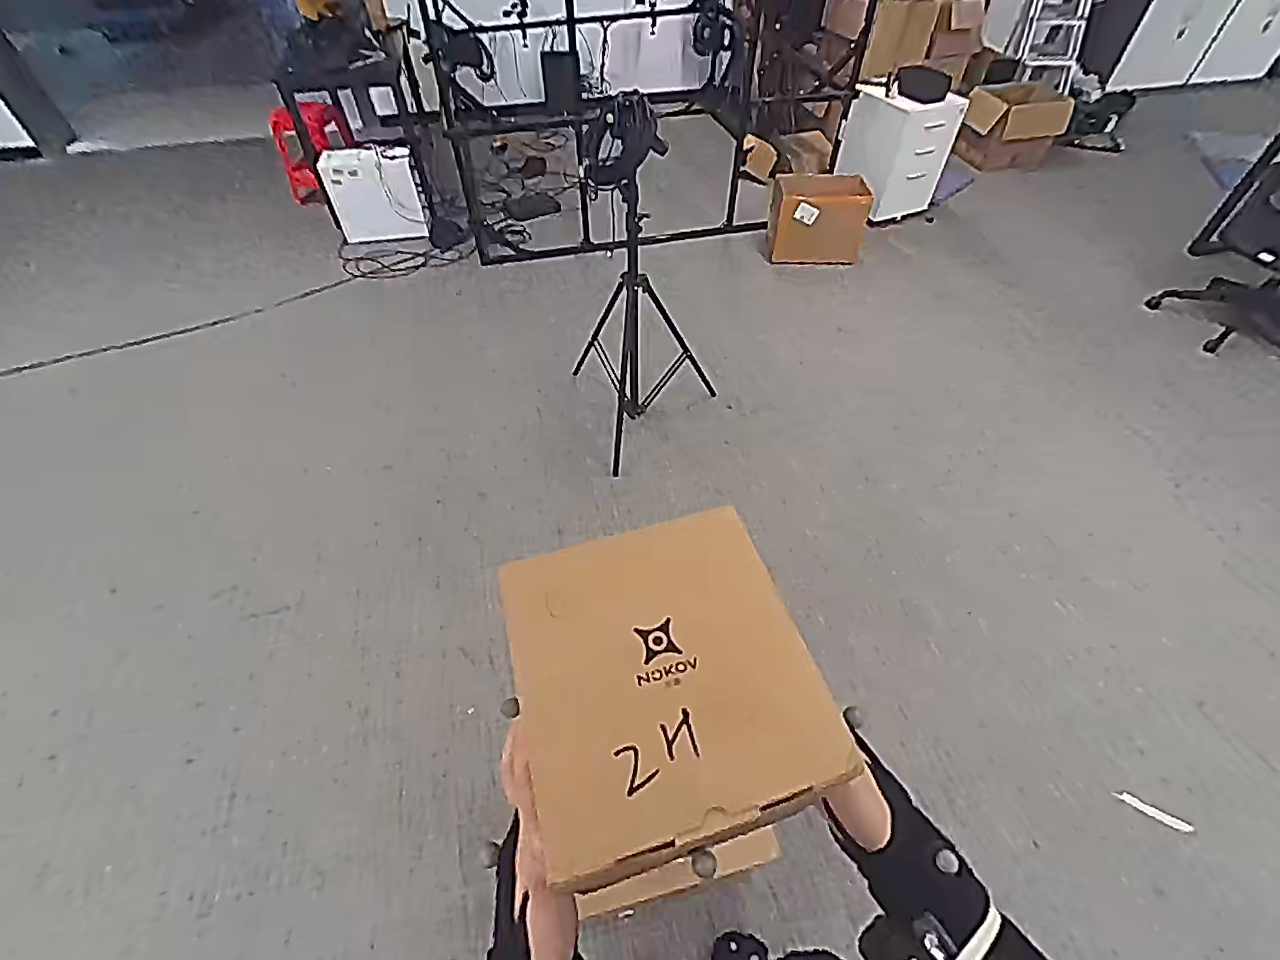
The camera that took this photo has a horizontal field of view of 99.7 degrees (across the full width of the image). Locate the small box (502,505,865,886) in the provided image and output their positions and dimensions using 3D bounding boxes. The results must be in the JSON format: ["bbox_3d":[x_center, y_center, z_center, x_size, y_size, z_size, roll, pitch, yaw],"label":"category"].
[{"bbox_3d":[0.012,0.149,0.371,0.168,0.176,0.179,-14,54,-10],"label":"small box"}]
